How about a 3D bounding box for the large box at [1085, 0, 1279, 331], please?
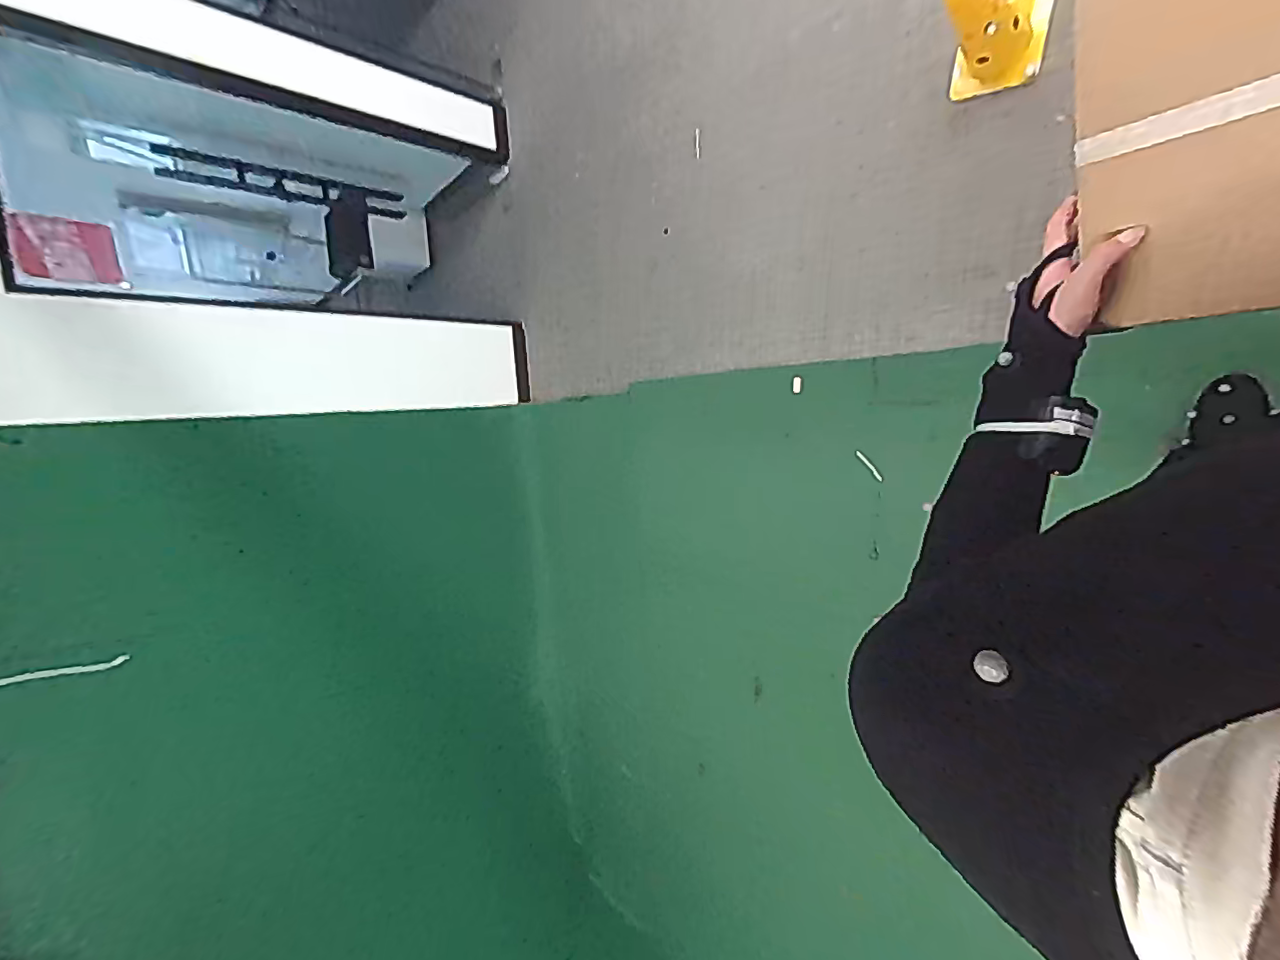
[{"bbox_3d":[0.637,-0.324,0.423,0.408,0.320,0.320,4,112,49],"label":"large box"}]
